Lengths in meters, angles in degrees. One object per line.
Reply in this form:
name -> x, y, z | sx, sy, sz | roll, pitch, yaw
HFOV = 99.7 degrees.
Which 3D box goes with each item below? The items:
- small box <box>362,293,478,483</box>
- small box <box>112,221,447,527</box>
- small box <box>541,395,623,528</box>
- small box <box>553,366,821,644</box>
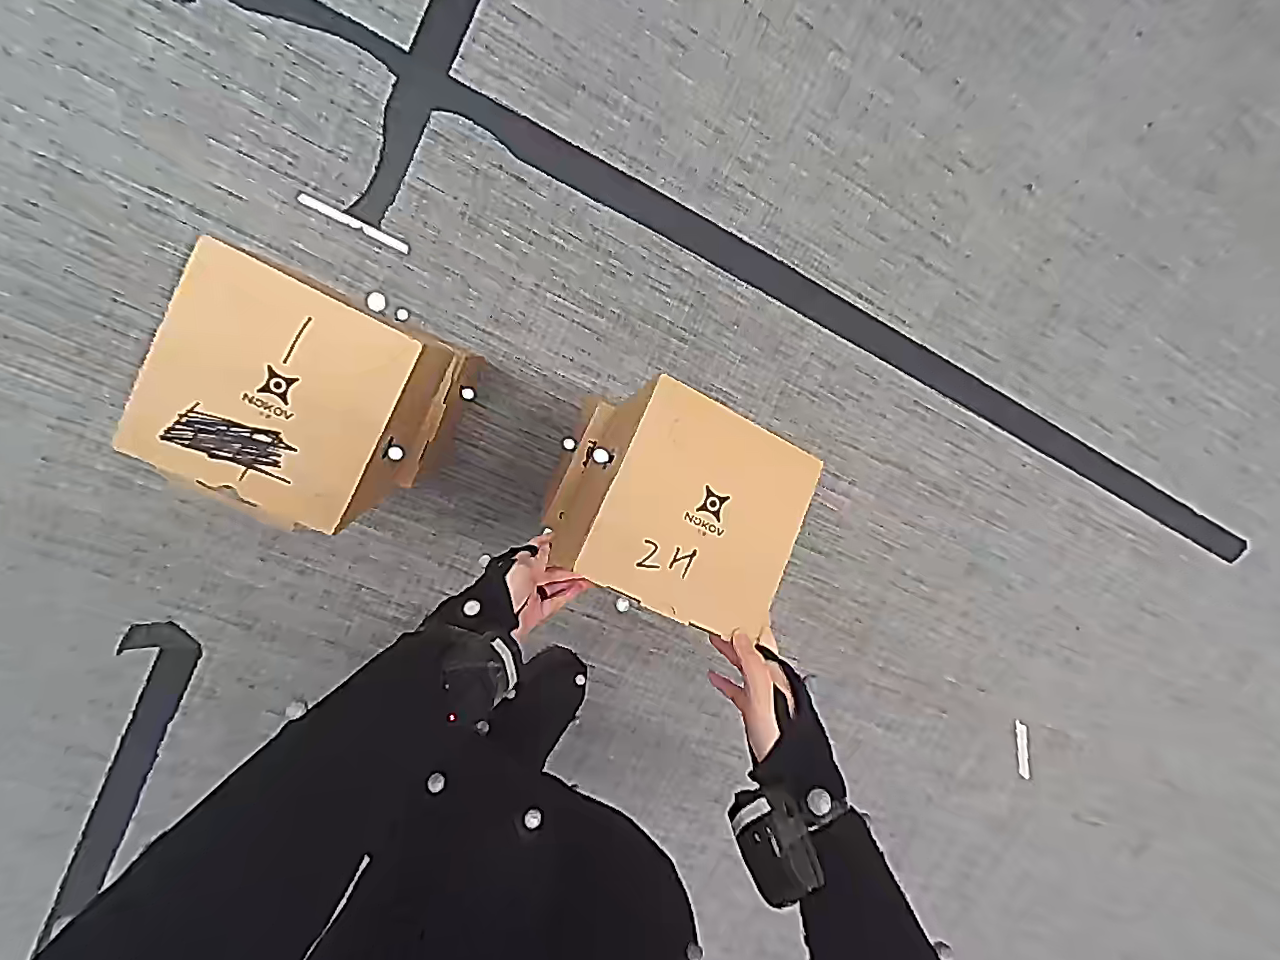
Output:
small box -> -0.308, -0.119, 0.642 | 0.179, 0.176, 0.168 | 24, 97, -14
small box -> -0.290, -0.087, 0.482 | 0.168, 0.176, 0.179 | 27, 95, -15
small box -> -0.018, -0.005, 0.715 | 0.179, 0.176, 0.168 | 25, 96, -14
small box -> 0.030, 0.025, 0.508 | 0.168, 0.176, 0.179 | 27, 79, -13
